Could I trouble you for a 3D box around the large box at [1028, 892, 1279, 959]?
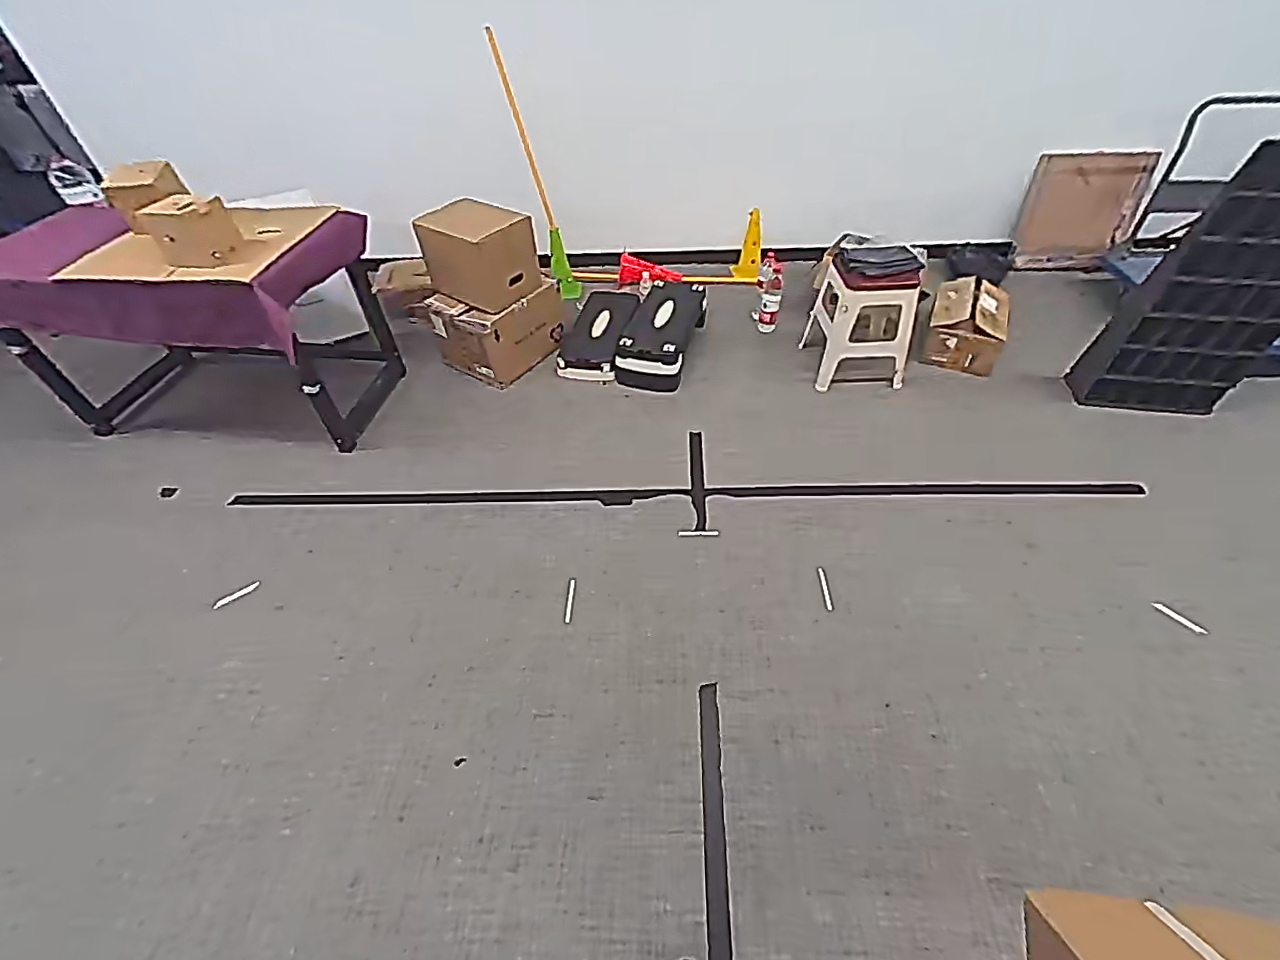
[{"bbox_3d":[0.653,0.716,0.534,0.320,0.408,0.320,1,81,13],"label":"large box"}]
